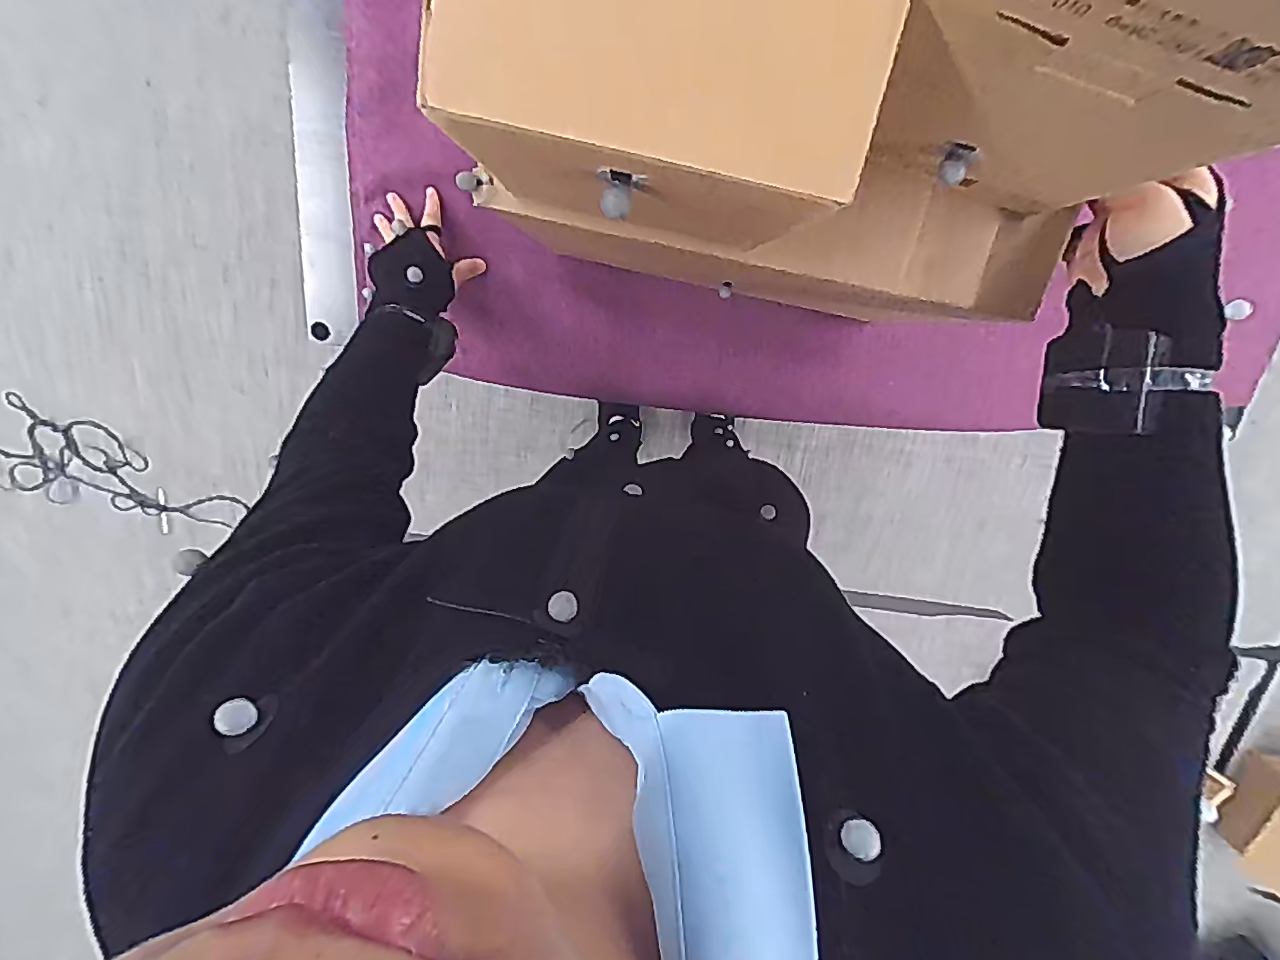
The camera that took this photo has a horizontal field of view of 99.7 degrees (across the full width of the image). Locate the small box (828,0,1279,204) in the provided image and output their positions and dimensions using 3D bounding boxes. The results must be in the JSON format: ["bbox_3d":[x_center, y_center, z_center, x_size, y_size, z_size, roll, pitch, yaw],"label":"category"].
[{"bbox_3d":[0.208,-0.255,0.244,0.168,0.176,0.179,17,105,-2],"label":"small box"}]

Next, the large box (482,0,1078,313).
[{"bbox_3d":[0.117,-0.337,0.478,0.408,0.320,0.320,11,105,-1],"label":"large box"}]
